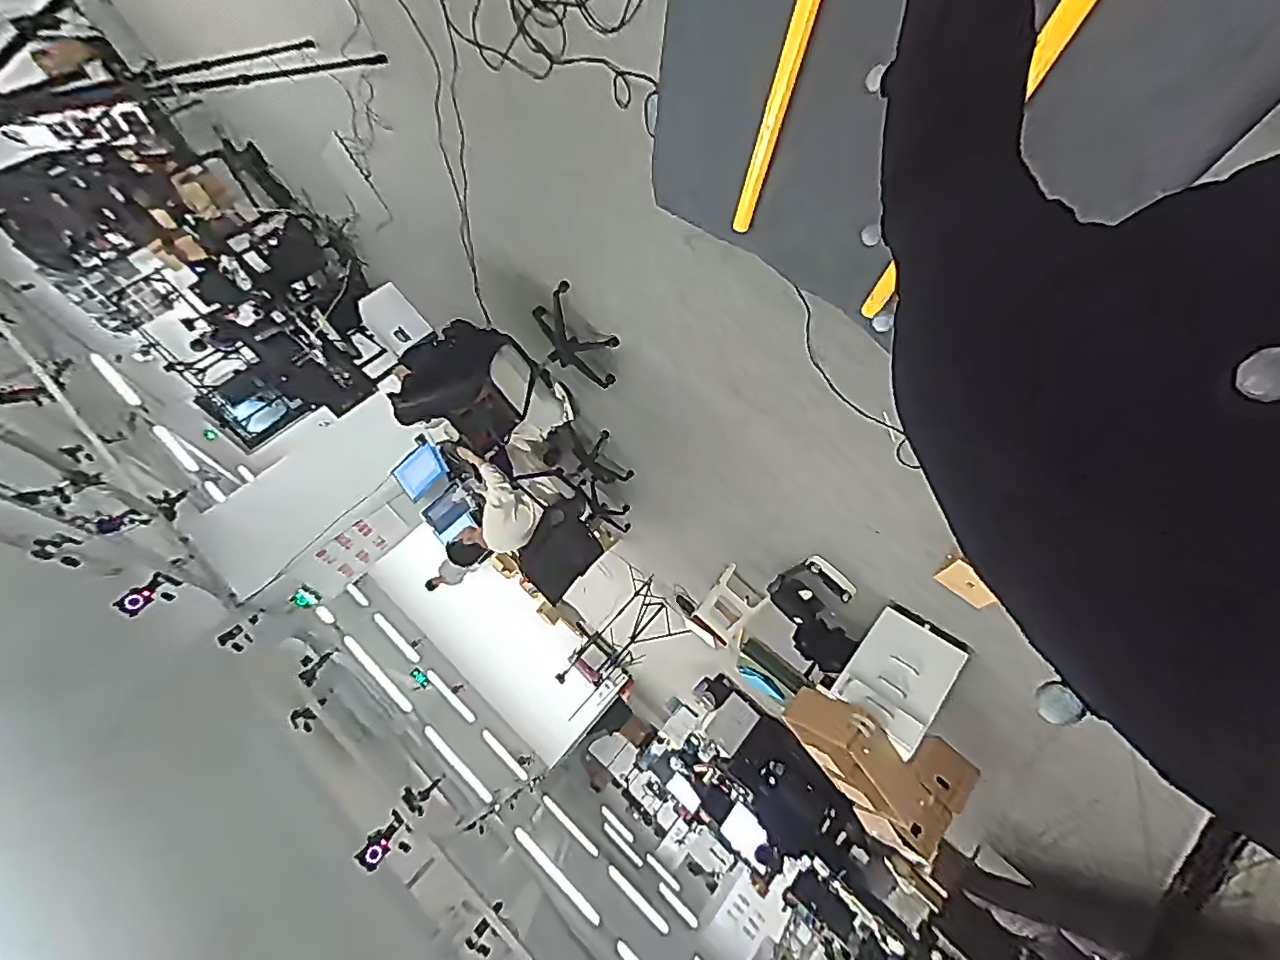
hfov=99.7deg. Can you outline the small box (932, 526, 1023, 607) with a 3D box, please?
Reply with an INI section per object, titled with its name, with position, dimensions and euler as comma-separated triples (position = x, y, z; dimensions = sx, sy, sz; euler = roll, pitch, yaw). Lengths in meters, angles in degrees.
[small box]
position = 1.097, 0.277, 1.752
dimensions = 0.168, 0.176, 0.179
euler = 38, 158, 17
